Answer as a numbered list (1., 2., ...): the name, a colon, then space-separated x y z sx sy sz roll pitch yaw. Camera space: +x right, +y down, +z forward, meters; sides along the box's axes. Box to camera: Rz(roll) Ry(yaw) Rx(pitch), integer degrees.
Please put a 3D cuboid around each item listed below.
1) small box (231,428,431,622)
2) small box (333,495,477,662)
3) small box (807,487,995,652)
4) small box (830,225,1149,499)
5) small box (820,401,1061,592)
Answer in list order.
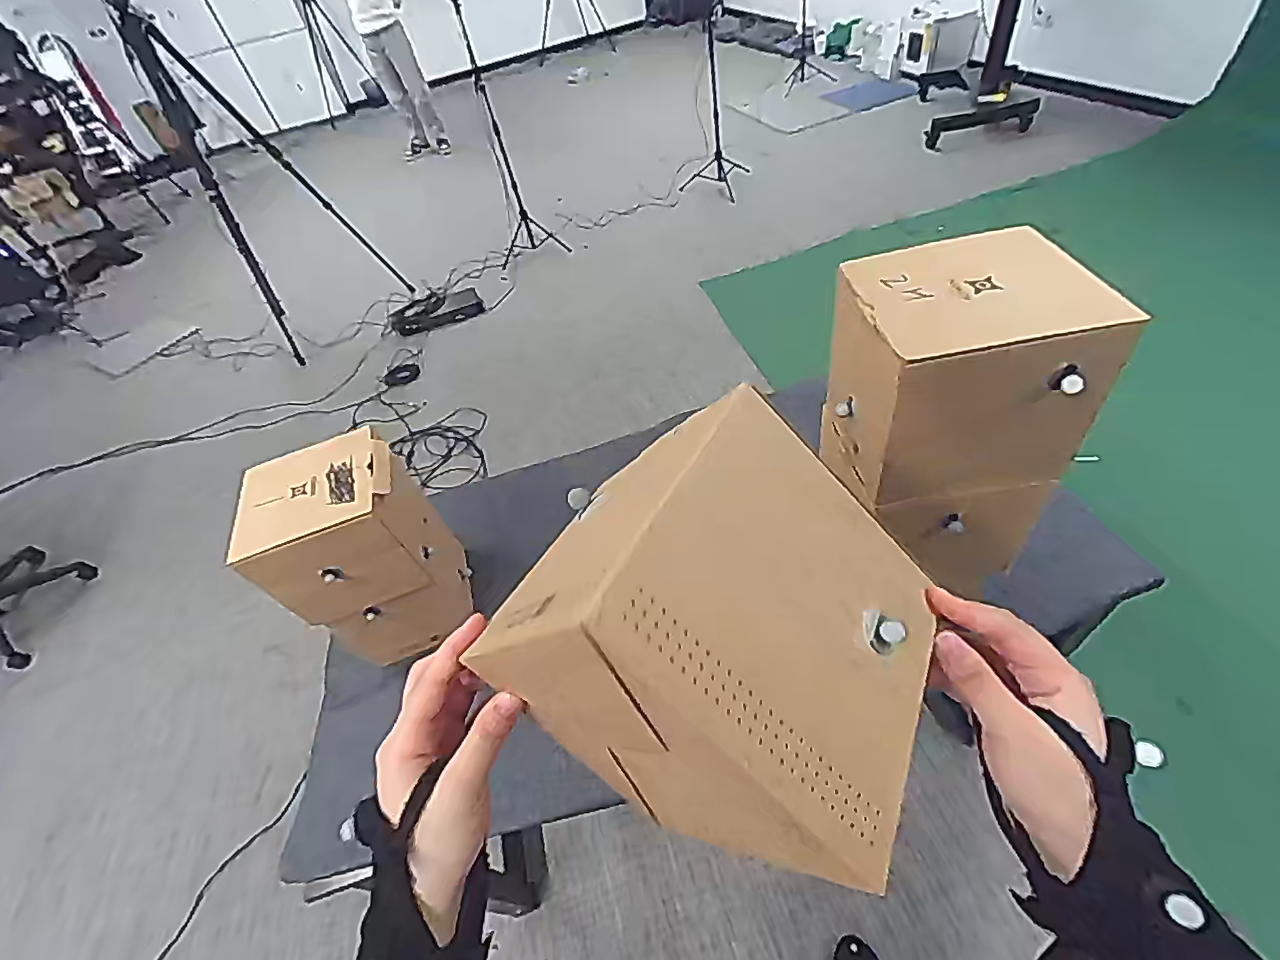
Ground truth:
1. small box: -0.401 0.064 0.739 0.179 0.176 0.168 -21 49 -5
2. small box: -0.379 0.160 0.873 0.168 0.176 0.179 -21 48 -6
3. small box: 0.343 0.106 0.748 0.168 0.176 0.179 -18 48 -2
4. small box: 0.289 -0.104 0.502 0.179 0.176 0.168 -10 46 7
5. small box: 0.318 0.008 0.620 0.179 0.176 0.168 -11 46 6
